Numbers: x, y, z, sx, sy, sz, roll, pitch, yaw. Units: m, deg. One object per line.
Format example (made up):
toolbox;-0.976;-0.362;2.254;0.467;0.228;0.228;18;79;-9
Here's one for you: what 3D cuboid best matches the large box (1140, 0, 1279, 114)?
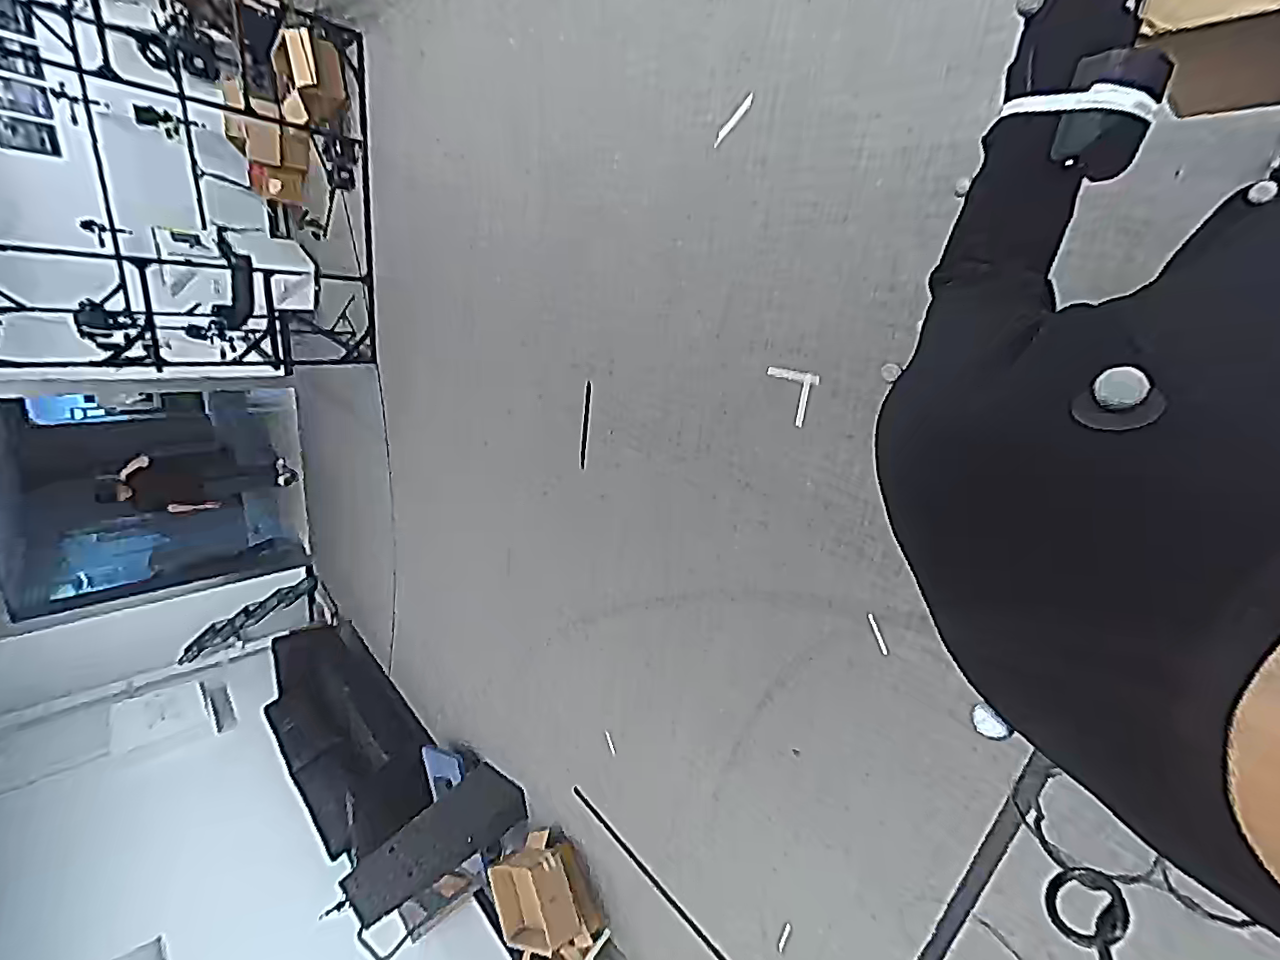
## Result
large box;0.581;-0.433;0.280;0.408;0.320;0.320;21;120;42
